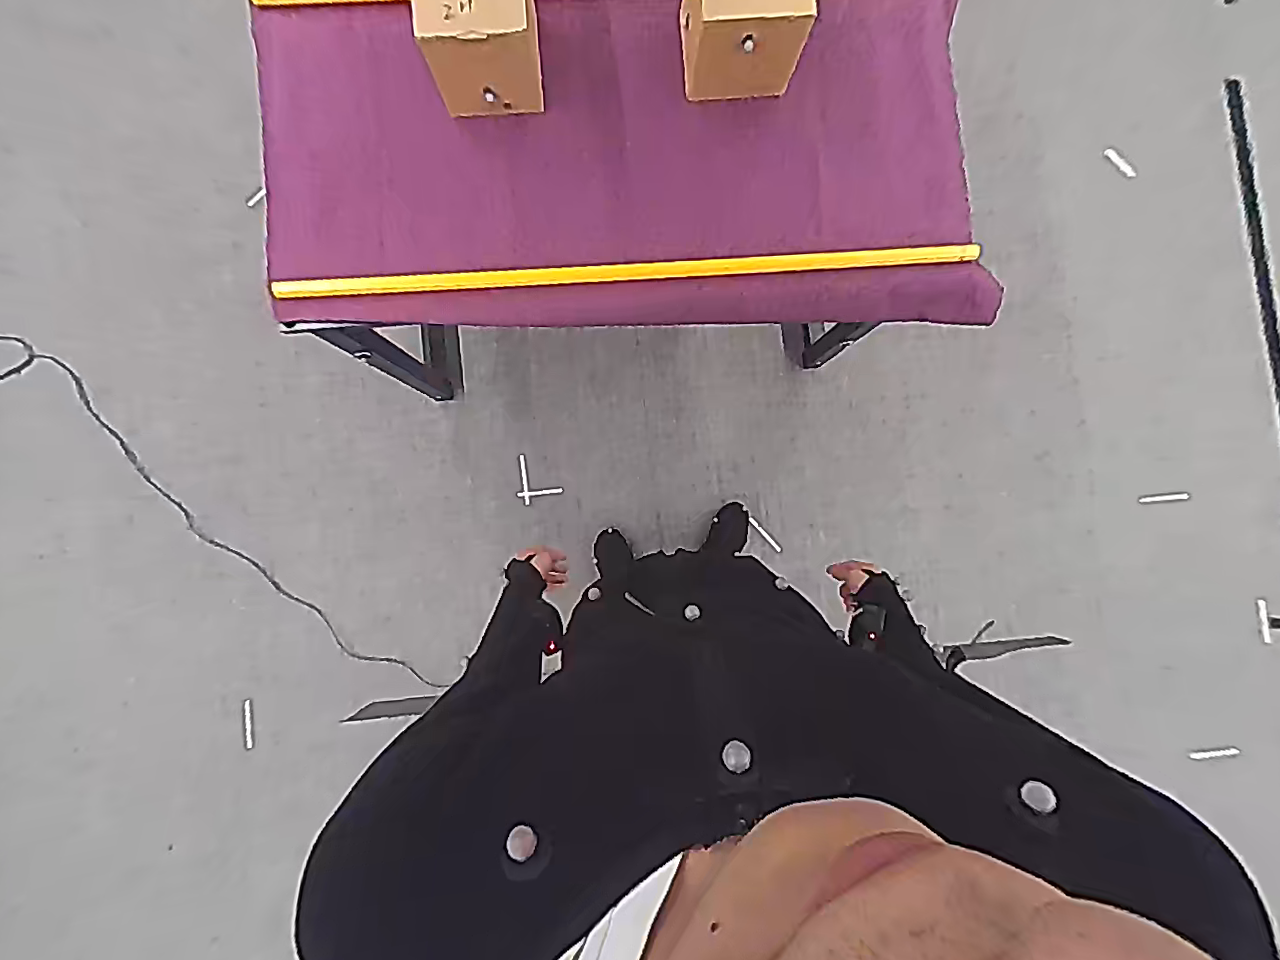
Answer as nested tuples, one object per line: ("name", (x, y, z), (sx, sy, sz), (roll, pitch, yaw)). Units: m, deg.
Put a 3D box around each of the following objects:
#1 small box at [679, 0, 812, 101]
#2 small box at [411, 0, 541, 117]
("small box", (0.164, -0.761, 0.886), (0.179, 0.176, 0.168), (-4, 89, -1))
("small box", (-0.257, -0.727, 0.869), (0.168, 0.176, 0.179), (-4, 89, -2))
